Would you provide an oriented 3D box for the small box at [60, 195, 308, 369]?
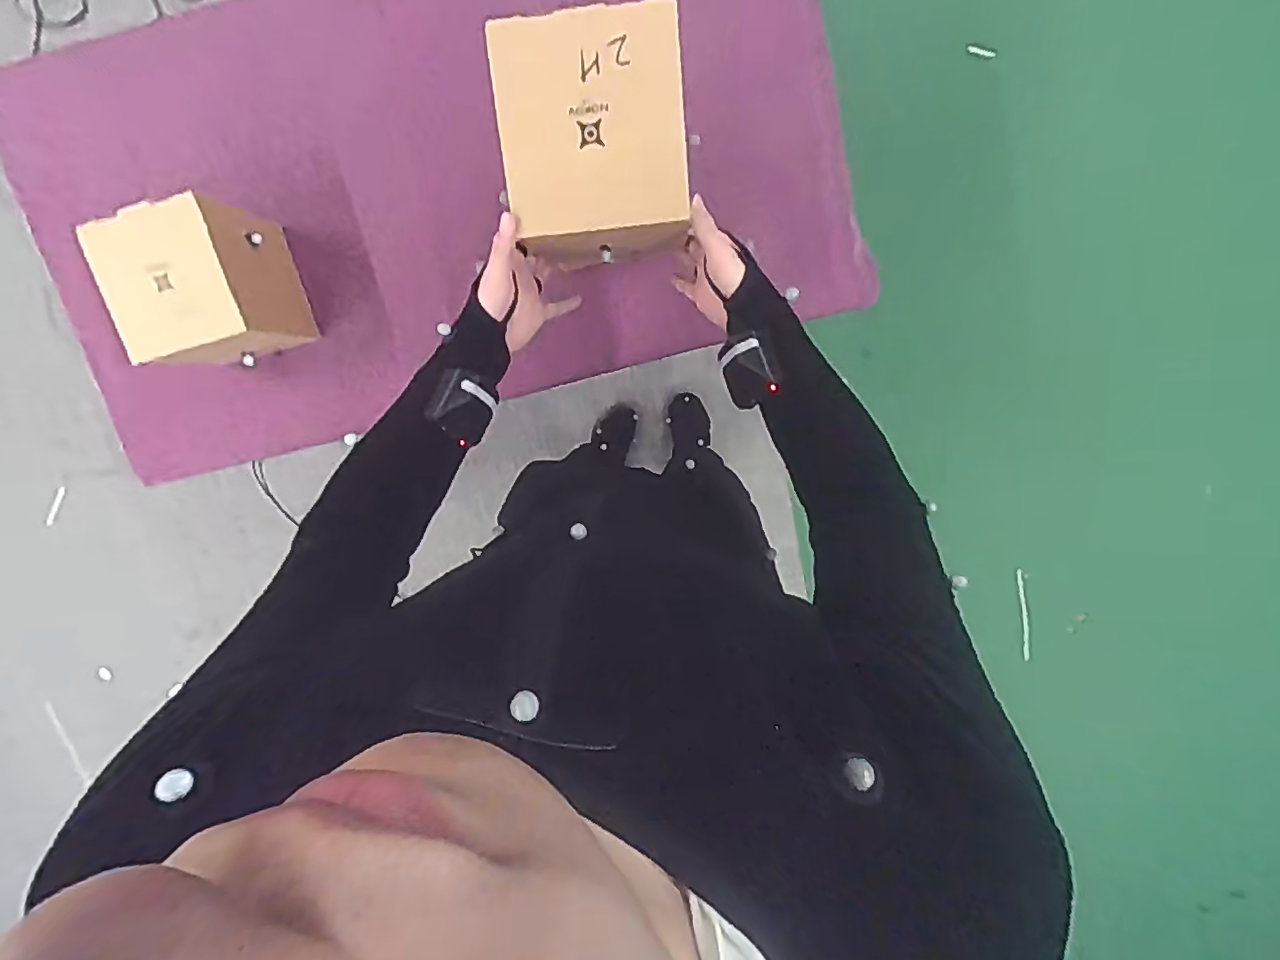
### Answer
[{"bbox_3d":[-0.607,-0.258,0.747,0.168,0.176,0.179,-14,101,3],"label":"small box"}]

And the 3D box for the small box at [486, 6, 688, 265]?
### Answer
[{"bbox_3d":[-0.039,-0.319,0.544,0.168,0.176,0.179,-4,104,3],"label":"small box"}]
